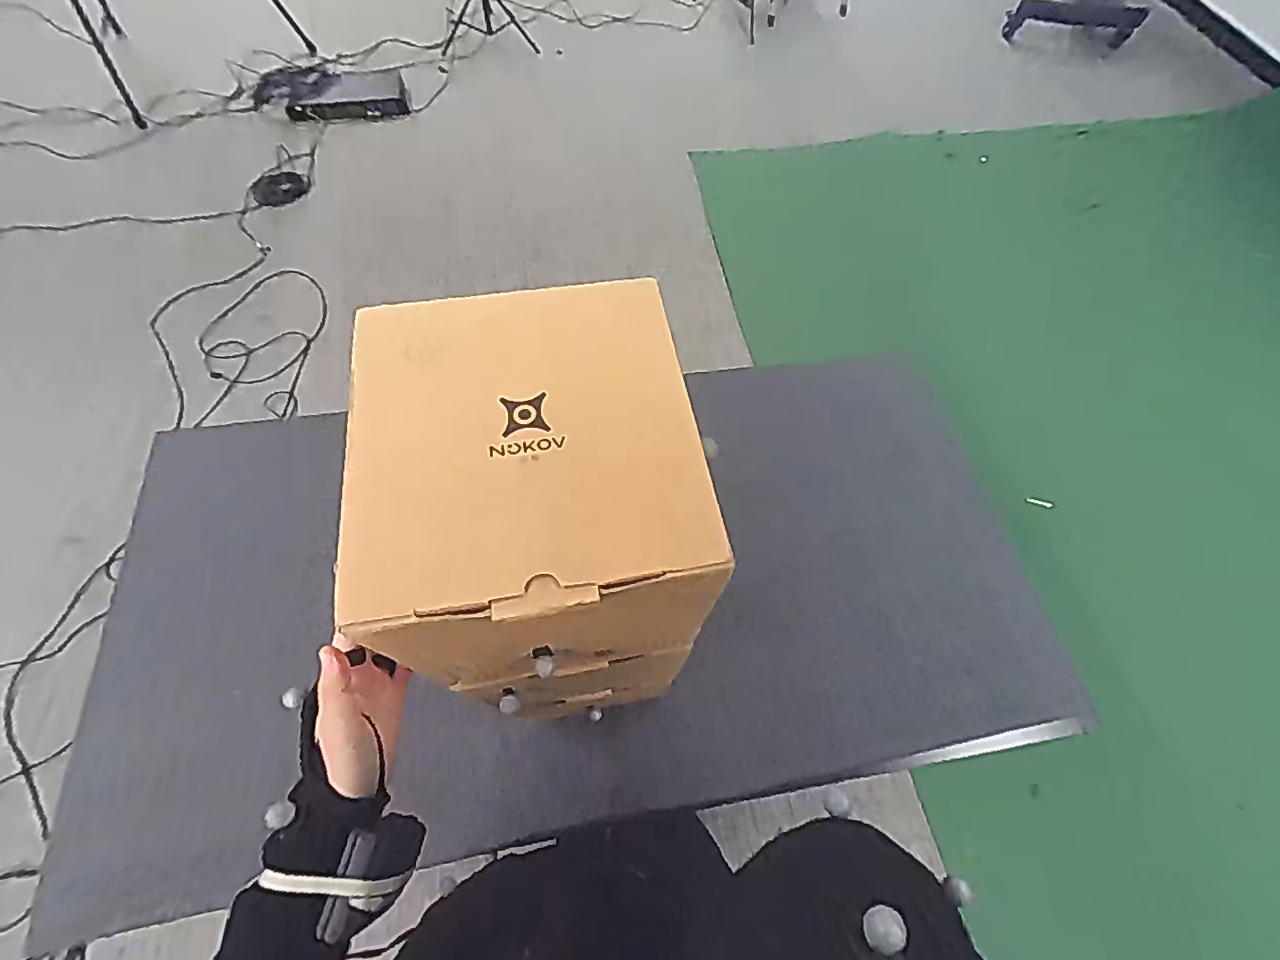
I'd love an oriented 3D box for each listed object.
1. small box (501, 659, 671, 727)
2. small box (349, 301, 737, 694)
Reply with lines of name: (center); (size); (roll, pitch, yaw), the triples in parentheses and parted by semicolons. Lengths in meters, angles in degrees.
small box: (-0.067, 0.173, 0.623); (0.168, 0.176, 0.179); (-9, 64, -6)
small box: (-0.056, 0.019, 0.336); (0.168, 0.176, 0.179); (-9, 63, -7)
